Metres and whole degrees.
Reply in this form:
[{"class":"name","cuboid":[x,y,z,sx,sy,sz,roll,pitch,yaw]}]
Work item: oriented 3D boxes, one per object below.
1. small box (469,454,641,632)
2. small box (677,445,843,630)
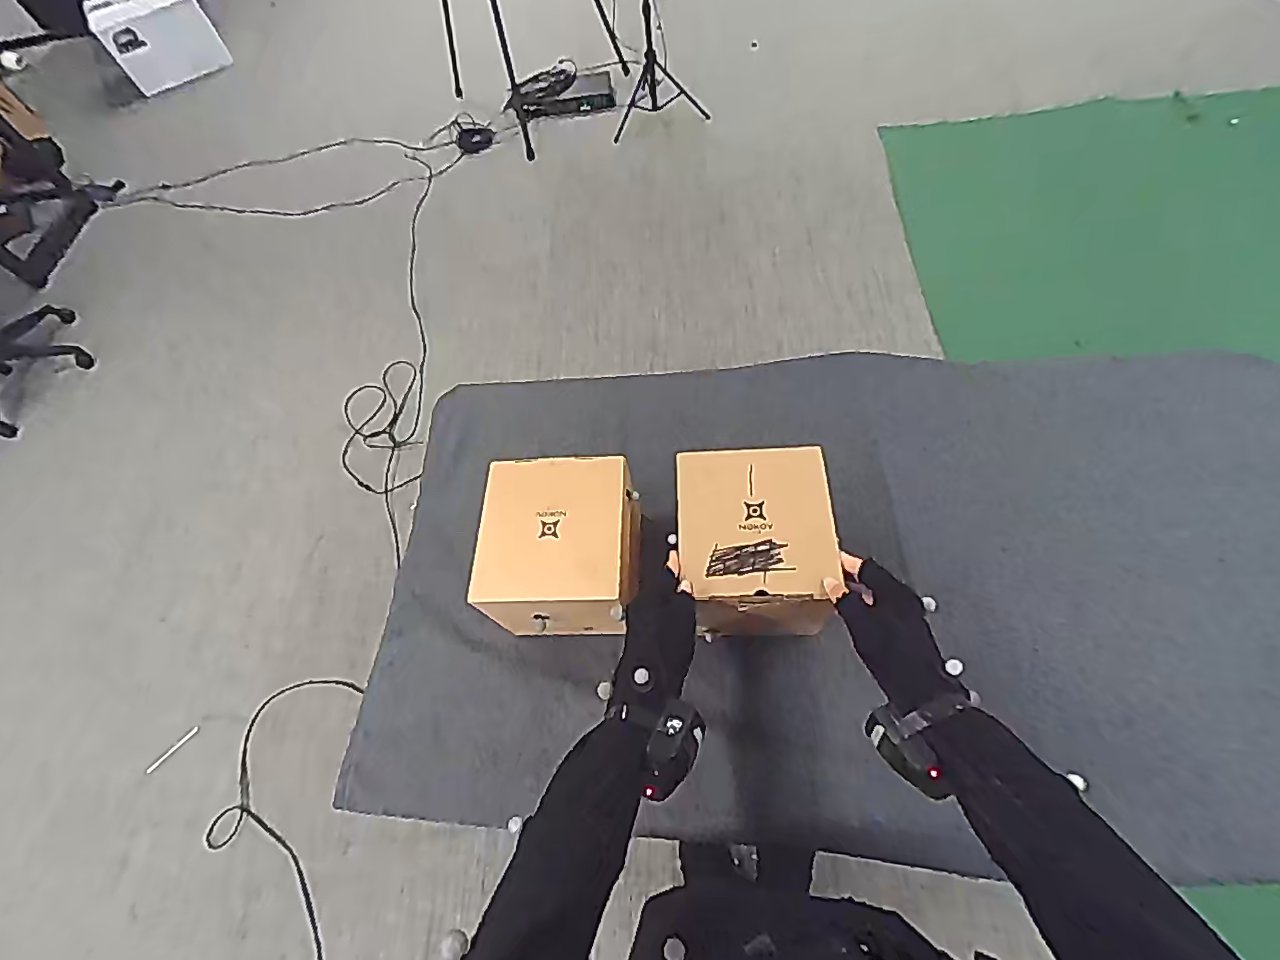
[{"class":"small box","cuboid":[-0.090,0.087,0.672,0.168,0.176,0.179,-3,61,6]},{"class":"small box","cuboid":[0.132,0.077,0.646,0.168,0.176,0.179,-2,61,7]}]
